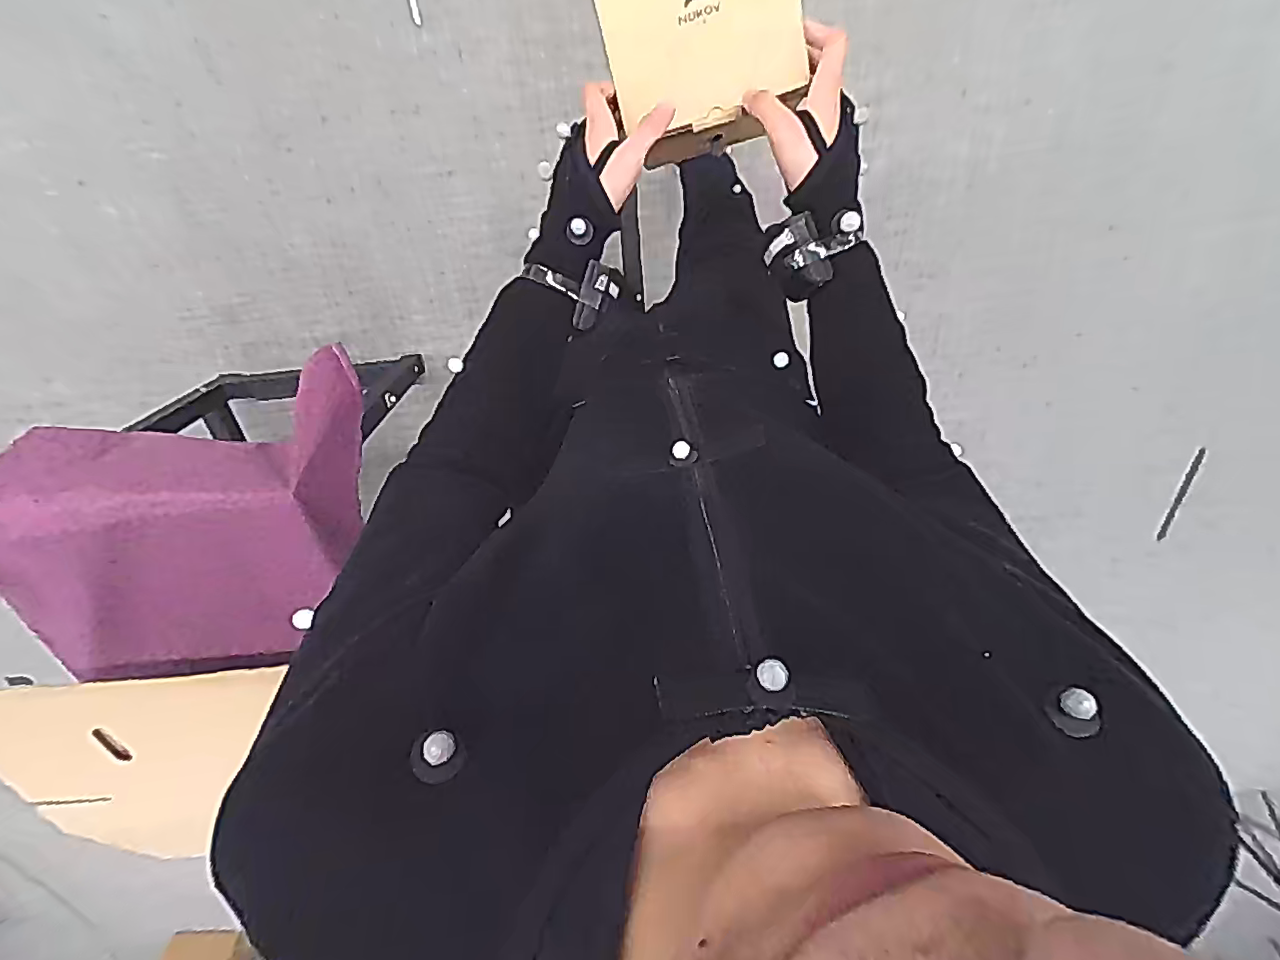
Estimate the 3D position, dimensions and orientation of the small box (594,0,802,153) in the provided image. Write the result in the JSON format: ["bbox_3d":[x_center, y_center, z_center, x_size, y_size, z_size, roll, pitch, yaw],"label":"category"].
[{"bbox_3d":[0.053,-0.439,0.525,0.168,0.176,0.179,-11,112,11],"label":"small box"}]
